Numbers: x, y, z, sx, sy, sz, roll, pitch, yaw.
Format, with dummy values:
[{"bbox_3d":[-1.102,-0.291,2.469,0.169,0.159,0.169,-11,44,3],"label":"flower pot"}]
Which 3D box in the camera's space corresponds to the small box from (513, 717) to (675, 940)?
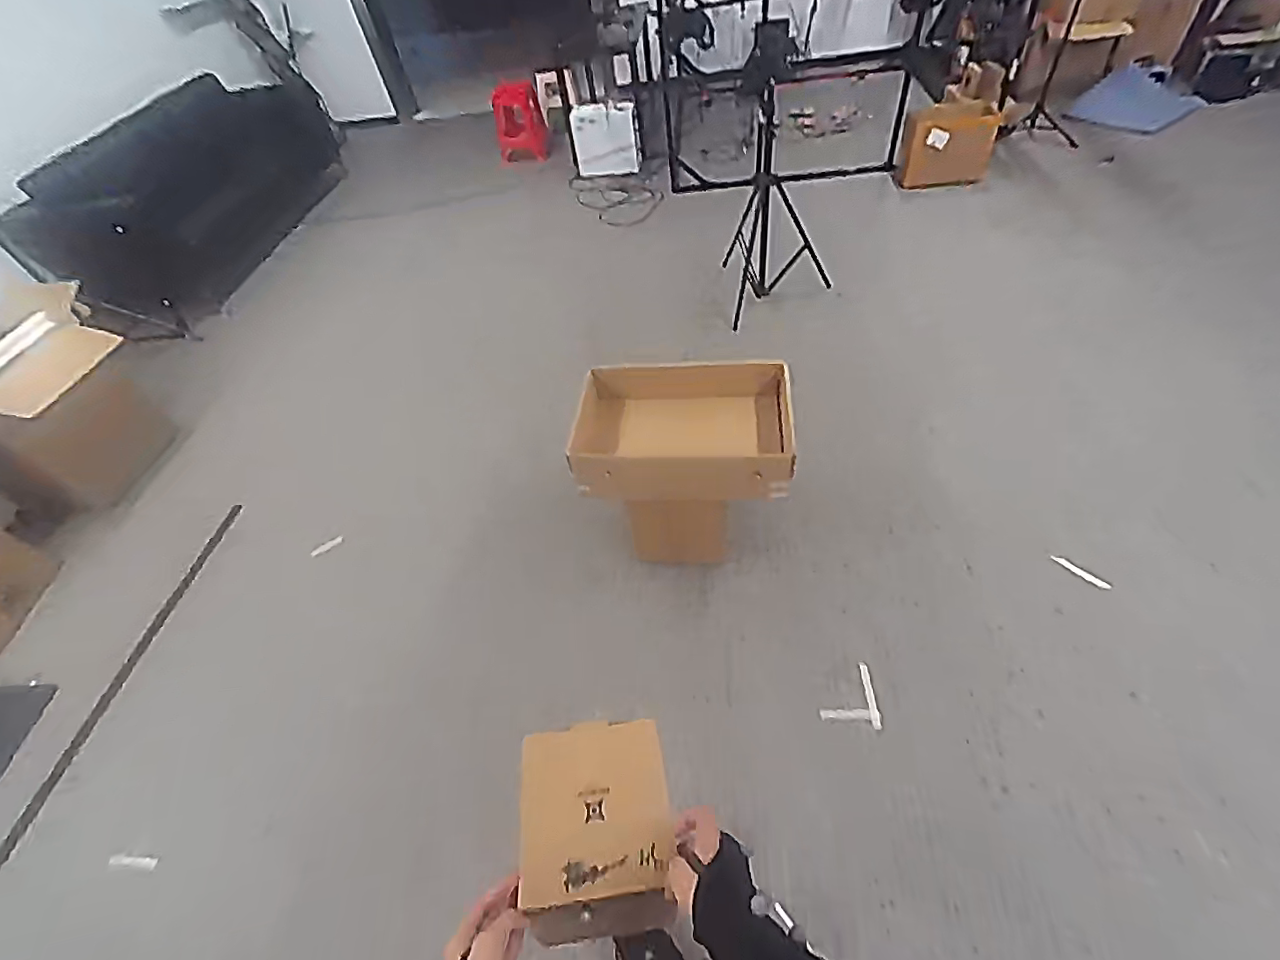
[{"bbox_3d":[-0.054,0.418,0.653,0.168,0.176,0.179,-5,41,-5],"label":"small box"}]
